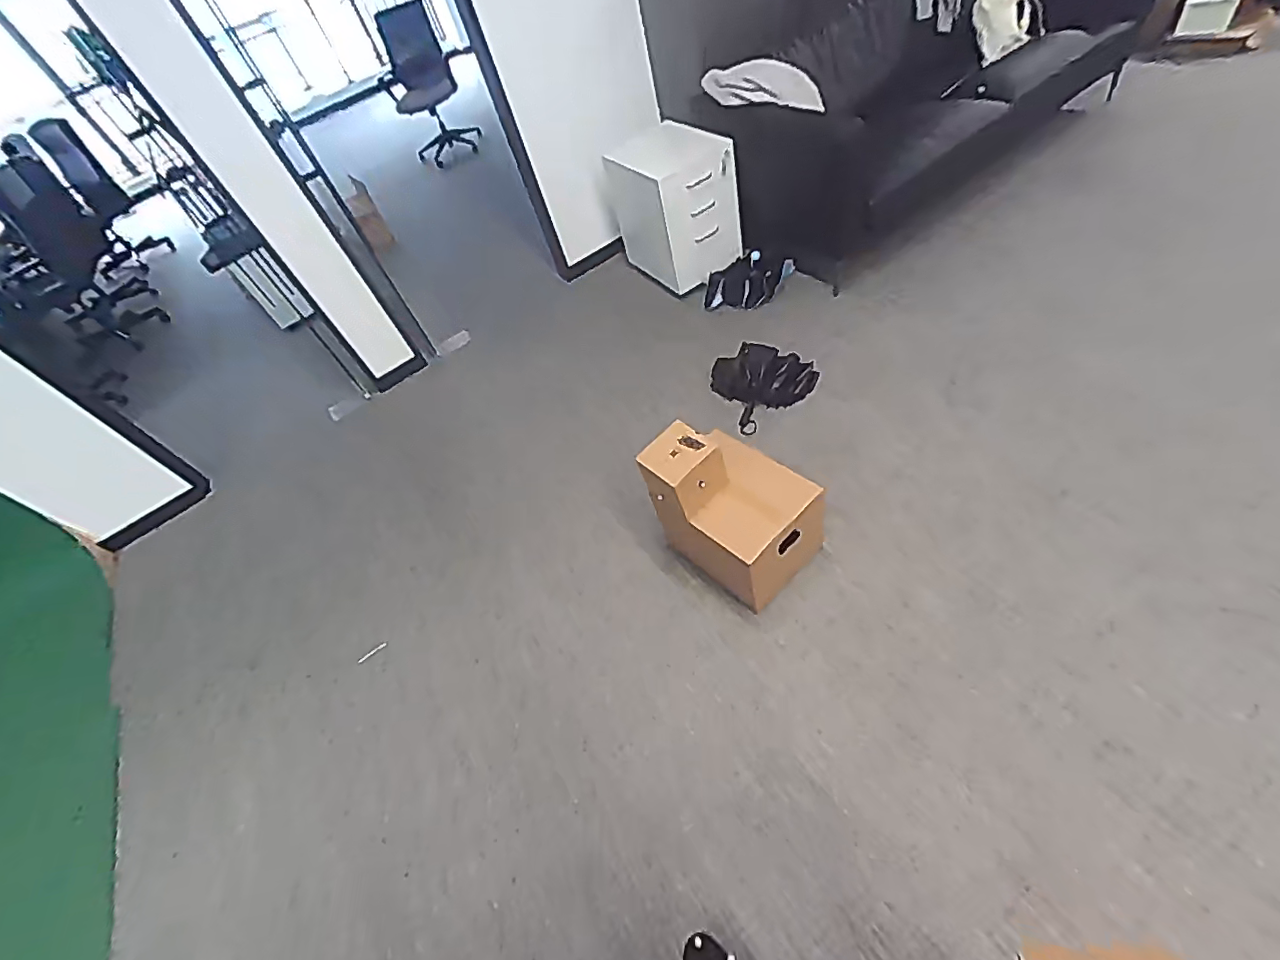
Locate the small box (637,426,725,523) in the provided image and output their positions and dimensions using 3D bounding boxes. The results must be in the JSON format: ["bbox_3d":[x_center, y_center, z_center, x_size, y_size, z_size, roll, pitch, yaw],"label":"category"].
[{"bbox_3d":[0.124,-0.015,1.533,0.179,0.176,0.168,-43,52,-13],"label":"small box"}]

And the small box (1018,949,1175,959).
[{"bbox_3d":[0.551,0.655,0.581,0.168,0.179,0.176,-14,76,16],"label":"small box"}]
